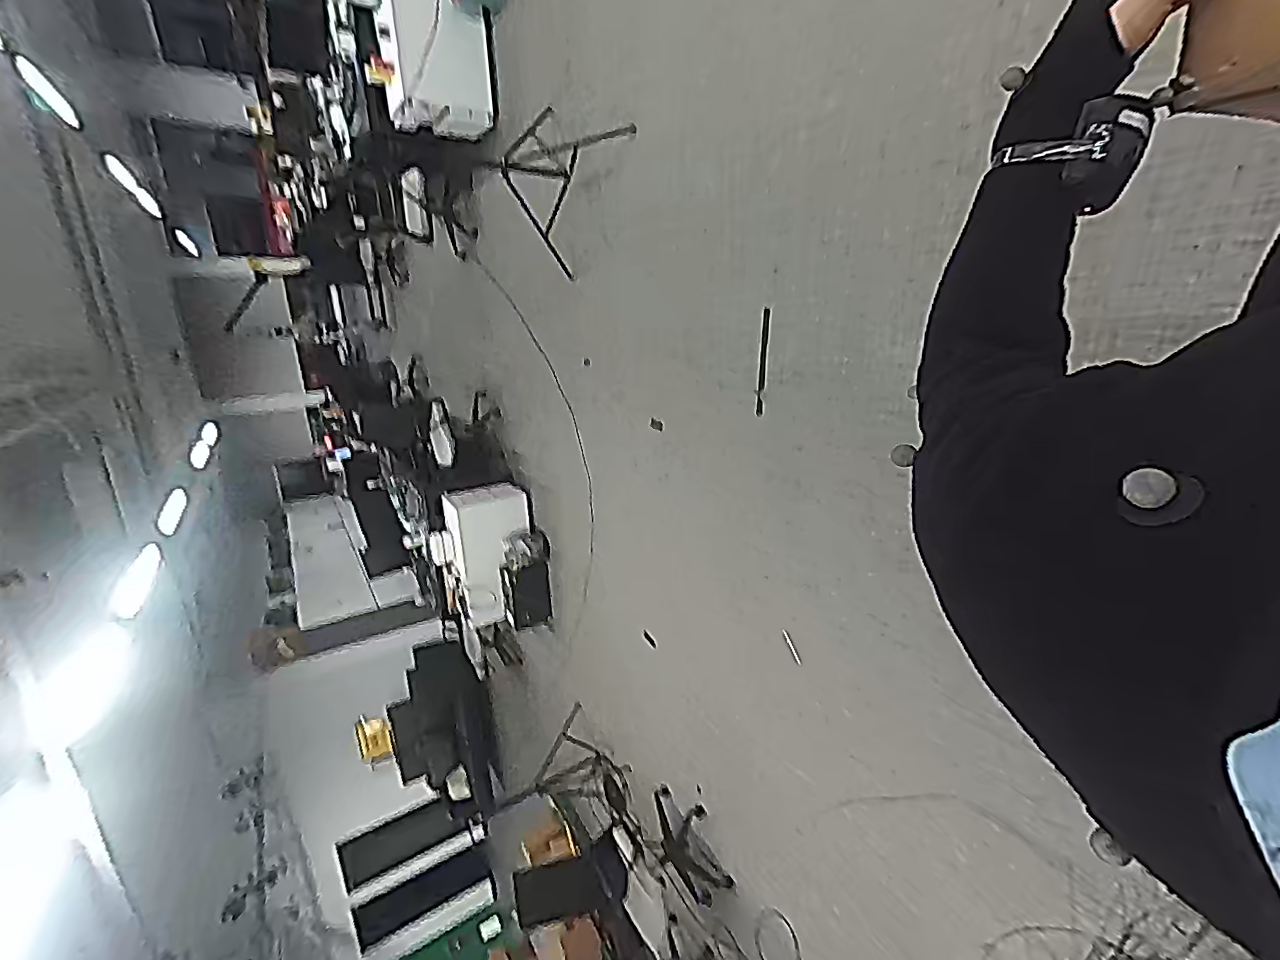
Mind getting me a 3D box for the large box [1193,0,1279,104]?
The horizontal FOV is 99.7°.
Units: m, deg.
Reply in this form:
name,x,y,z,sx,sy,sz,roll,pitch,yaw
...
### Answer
name,x,y,z,sx,sy,sz,roll,pitch,yaw
large box,0.606,-0.419,0.247,0.408,0.320,0.320,22,124,55
